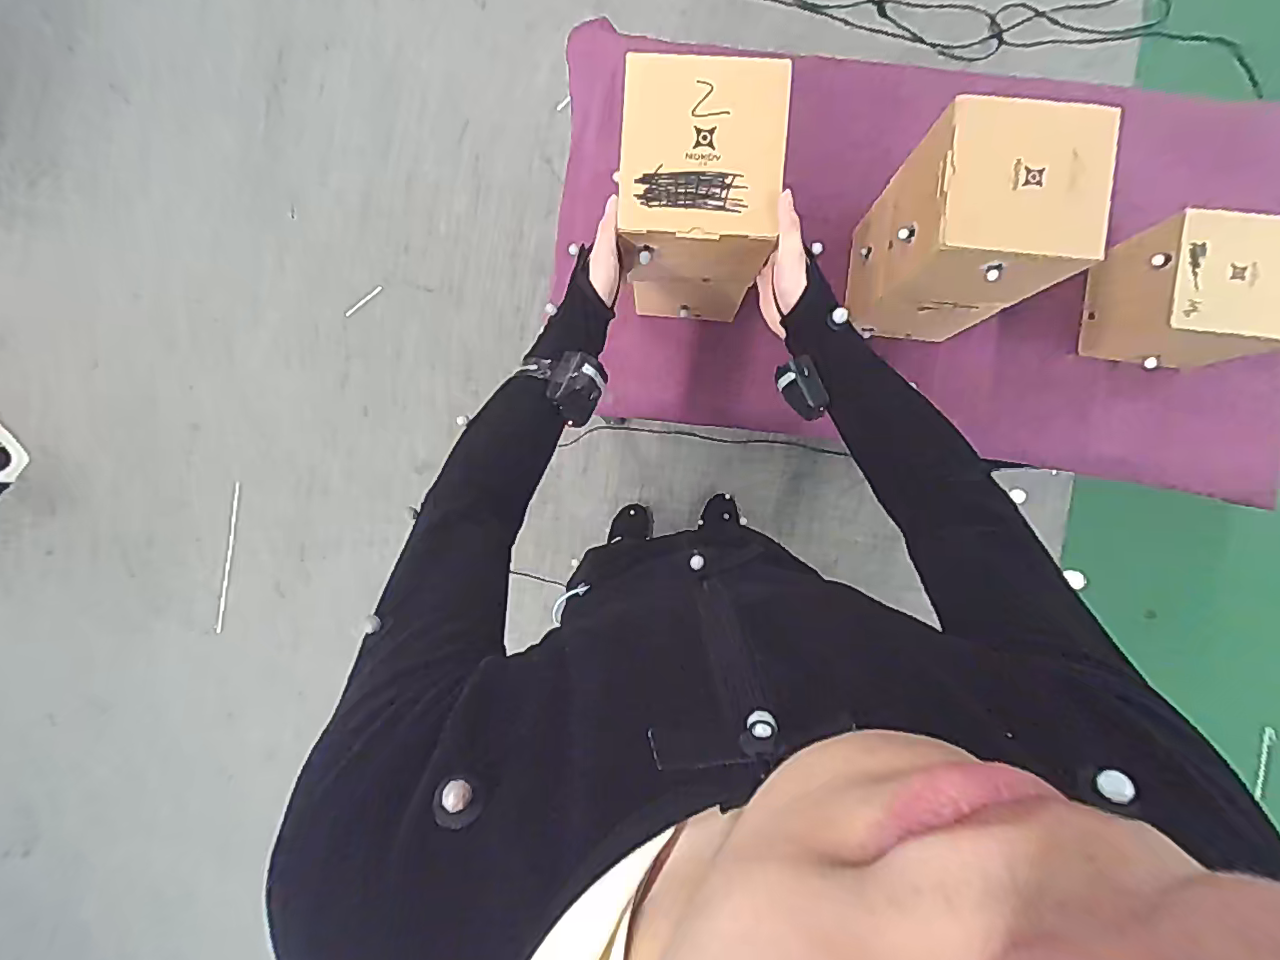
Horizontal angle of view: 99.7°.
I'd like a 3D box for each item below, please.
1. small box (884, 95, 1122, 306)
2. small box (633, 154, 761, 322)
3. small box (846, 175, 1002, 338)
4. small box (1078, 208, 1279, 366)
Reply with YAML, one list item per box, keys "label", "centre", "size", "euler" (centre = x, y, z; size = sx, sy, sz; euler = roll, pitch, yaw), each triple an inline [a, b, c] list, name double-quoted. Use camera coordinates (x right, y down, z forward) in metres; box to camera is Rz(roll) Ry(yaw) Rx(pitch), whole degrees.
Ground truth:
- label: "small box"
  centre: [0.420, -0.322, 0.656]
  size: [0.179, 0.176, 0.168]
  euler: [7, 91, 1]
- label: "small box"
  centre: [0.081, -0.359, 0.829]
  size: [0.168, 0.176, 0.179]
  euler: [5, 90, 2]
- label: "small box"
  centre: [0.426, -0.325, 0.820]
  size: [0.168, 0.176, 0.179]
  euler: [6, 89, 2]
- label: "small box"
  centre: [0.813, -0.274, 0.805]
  size: [0.179, 0.176, 0.168]
  euler: [8, 89, 2]
